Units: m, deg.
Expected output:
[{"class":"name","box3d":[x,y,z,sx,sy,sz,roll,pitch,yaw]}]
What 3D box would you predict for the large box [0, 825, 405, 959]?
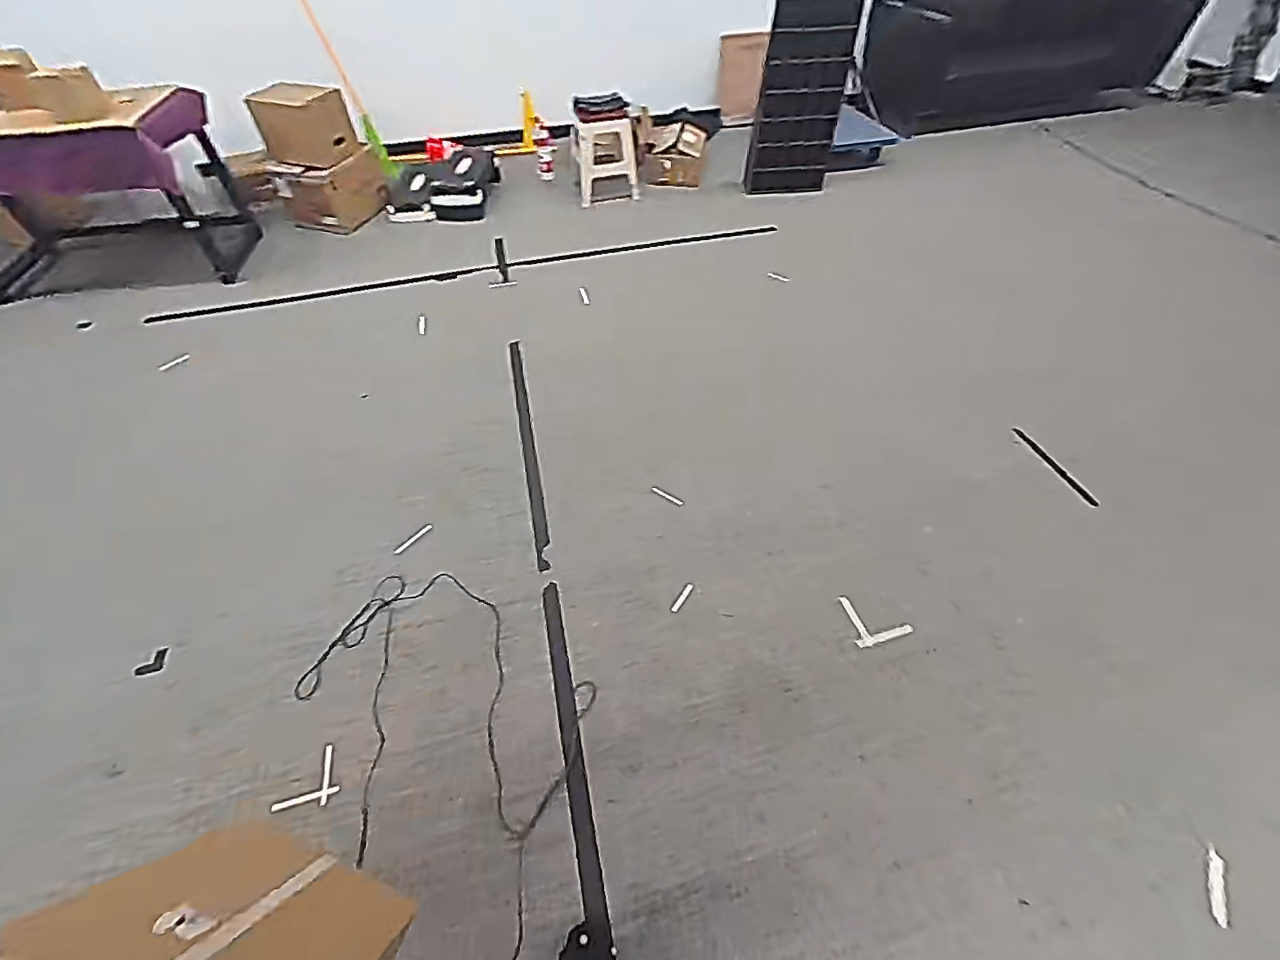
[{"class":"large box","box3d":[-0.558,0.693,0.634,0.320,0.408,0.320,22,74,5]}]
